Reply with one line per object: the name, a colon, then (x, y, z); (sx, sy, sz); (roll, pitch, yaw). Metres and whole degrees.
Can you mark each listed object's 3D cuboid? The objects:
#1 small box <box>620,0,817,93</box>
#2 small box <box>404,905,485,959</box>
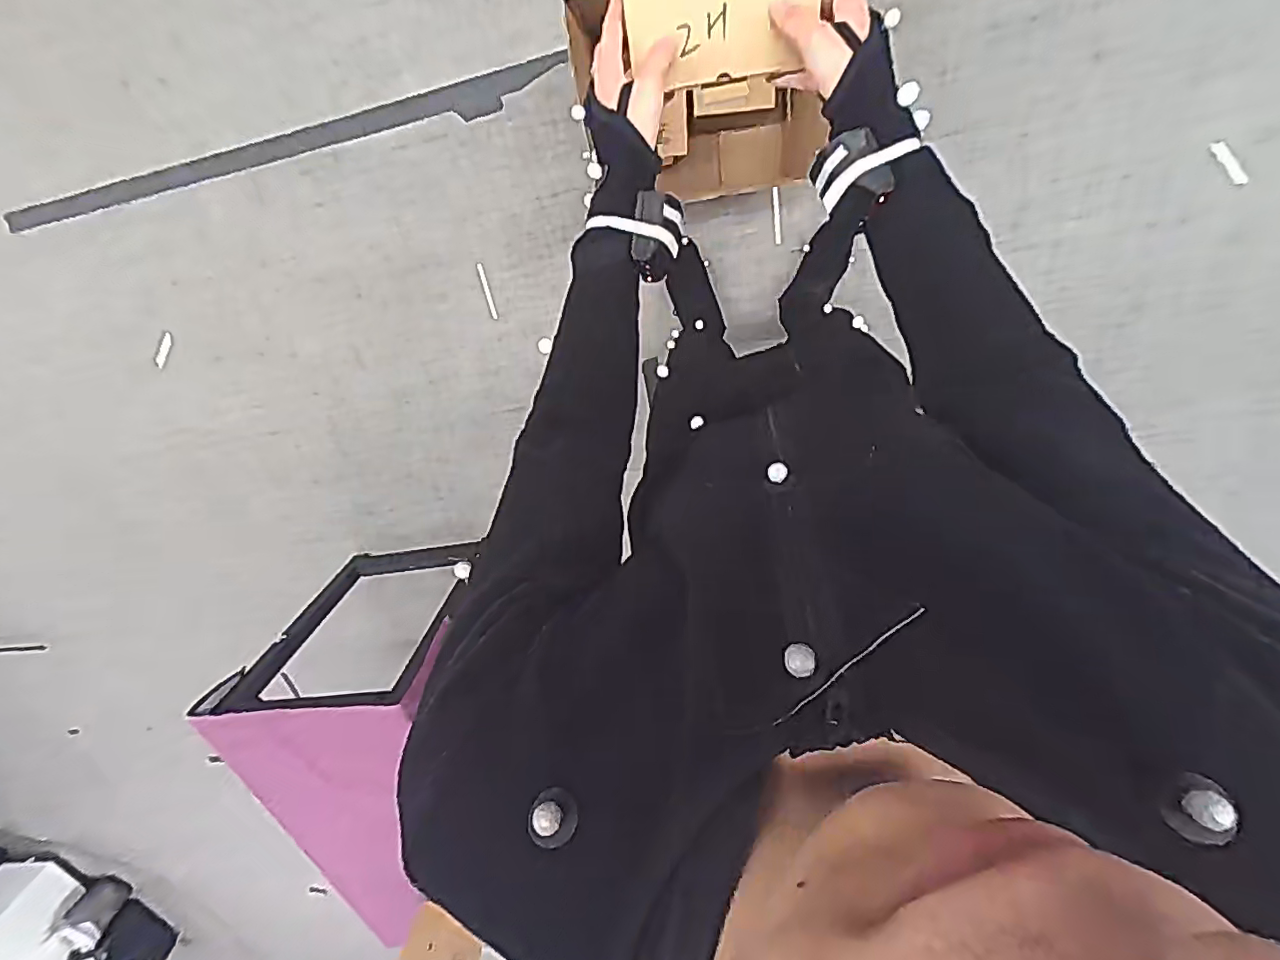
small box: (0.063, -0.478, 0.484); (0.168, 0.176, 0.179); (-4, 135, 7)
small box: (-0.602, 1.449, 1.670); (0.179, 0.176, 0.168); (-15, 115, 15)
